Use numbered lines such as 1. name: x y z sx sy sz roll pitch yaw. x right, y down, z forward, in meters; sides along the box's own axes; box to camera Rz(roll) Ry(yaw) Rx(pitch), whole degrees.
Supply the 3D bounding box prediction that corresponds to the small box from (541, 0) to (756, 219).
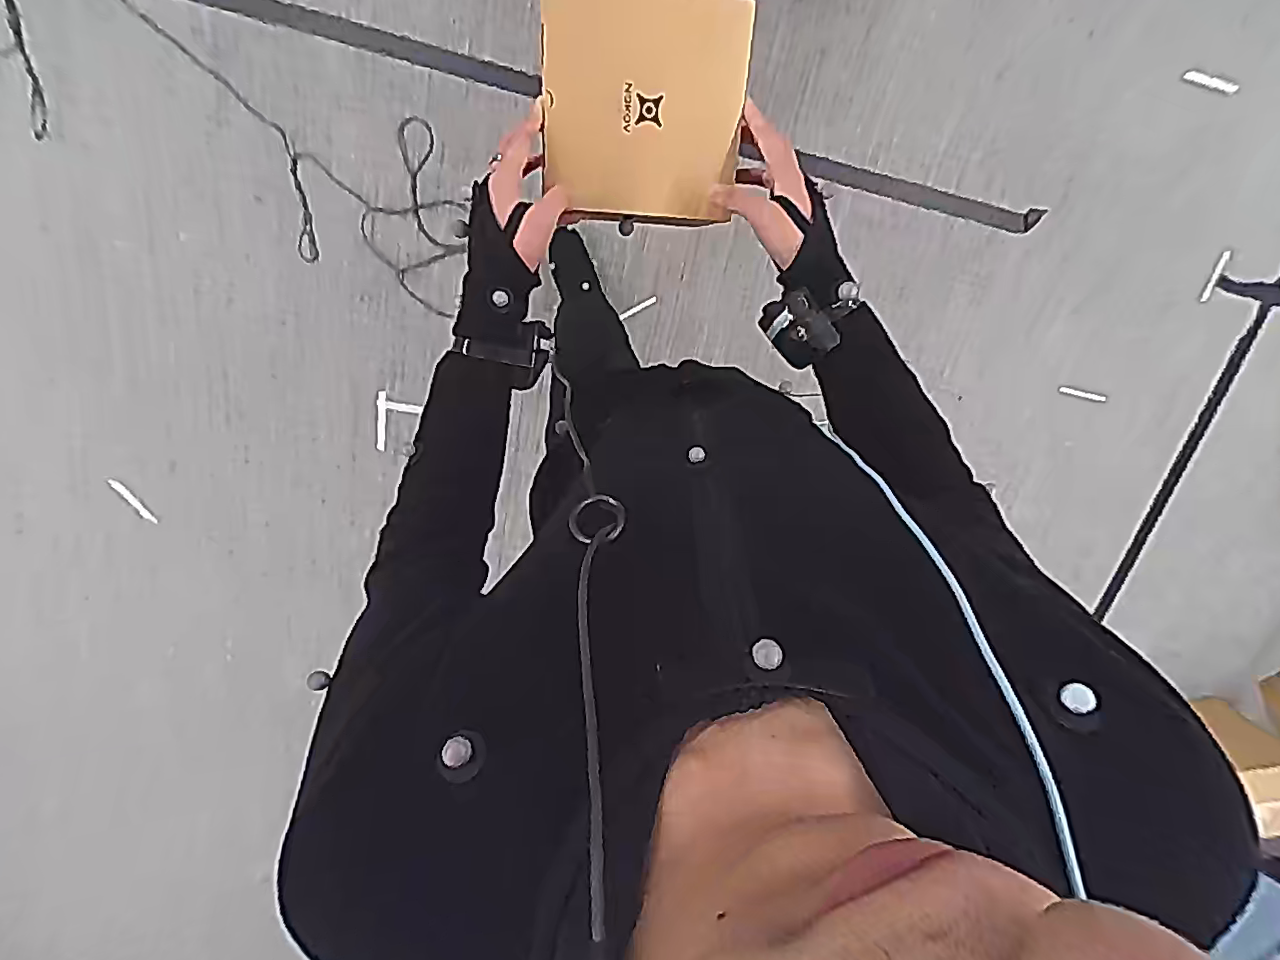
1. small box: -0.003 -0.356 0.535 0.179 0.176 0.168 2 114 -5
